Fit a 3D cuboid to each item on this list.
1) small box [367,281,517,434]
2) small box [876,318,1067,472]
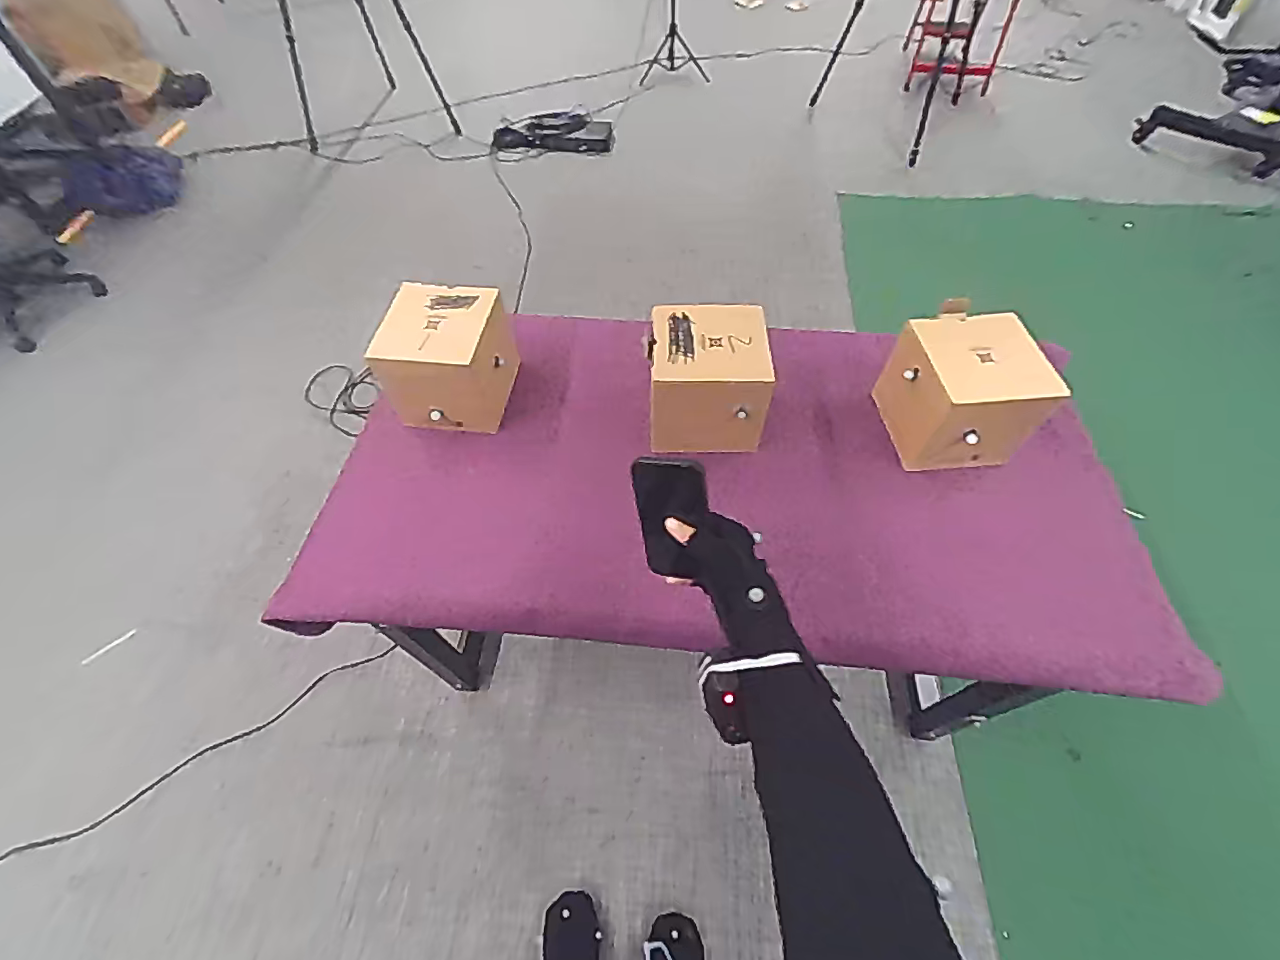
[{"bbox_3d":[-0.313,-0.202,0.903,0.168,0.176,0.179,6,58,5],"label":"small box"},{"bbox_3d":[0.495,-0.124,0.841,0.168,0.176,0.179,-4,55,-1],"label":"small box"}]
